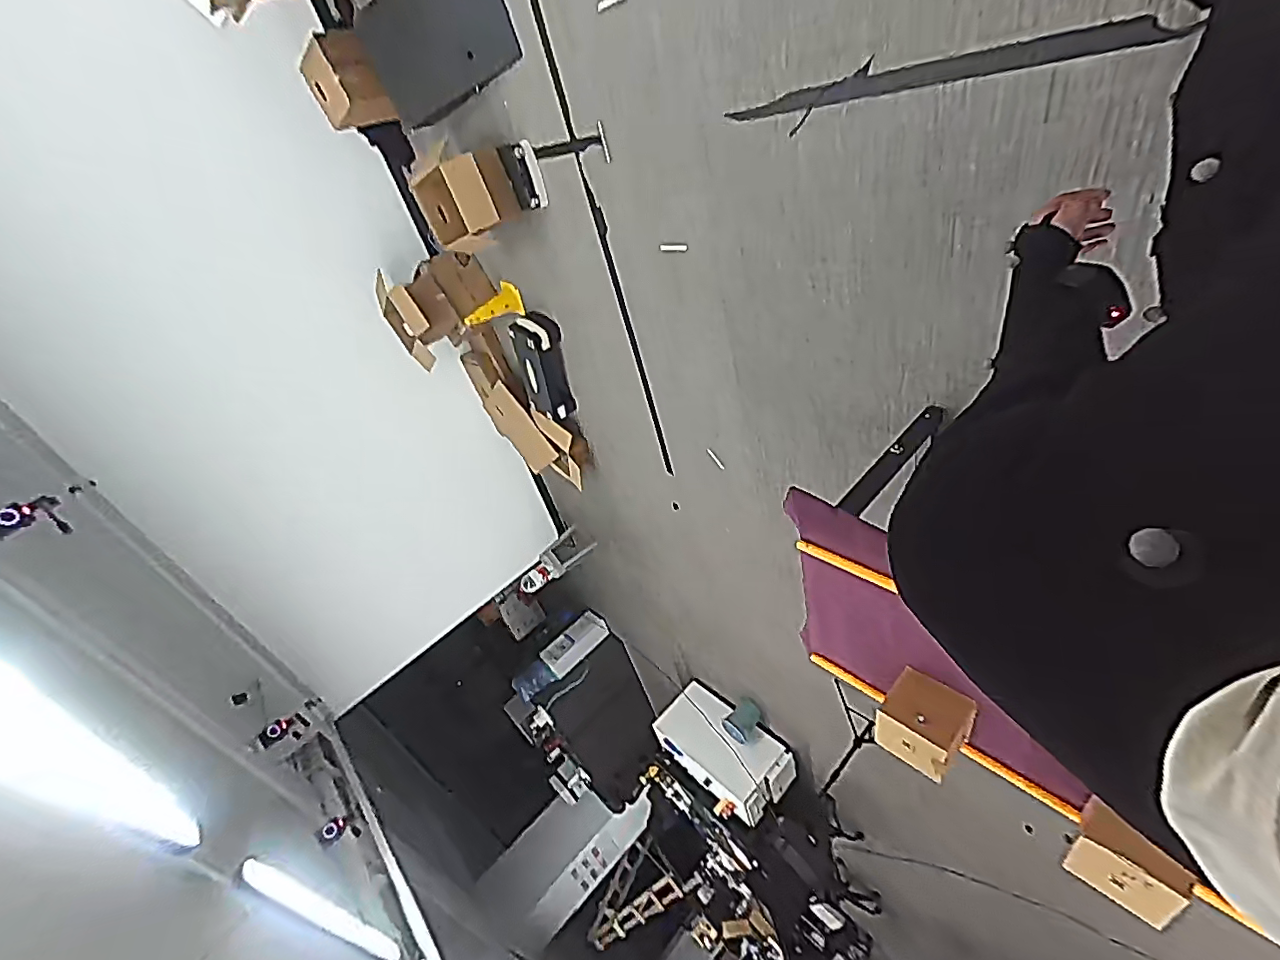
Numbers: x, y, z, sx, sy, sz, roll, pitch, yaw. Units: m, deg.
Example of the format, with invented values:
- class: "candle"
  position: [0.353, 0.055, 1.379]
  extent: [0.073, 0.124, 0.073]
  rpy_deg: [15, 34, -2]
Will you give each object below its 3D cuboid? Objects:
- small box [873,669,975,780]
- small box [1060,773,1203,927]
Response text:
- class: "small box"
  position: [0.737, 0.627, 1.411]
  extent: [0.179, 0.176, 0.168]
  rpy_deg: [25, 141, 42]
- class: "small box"
  position: [1.017, 0.759, 1.123]
  extent: [0.168, 0.176, 0.179]
  rpy_deg: [25, 141, 43]
